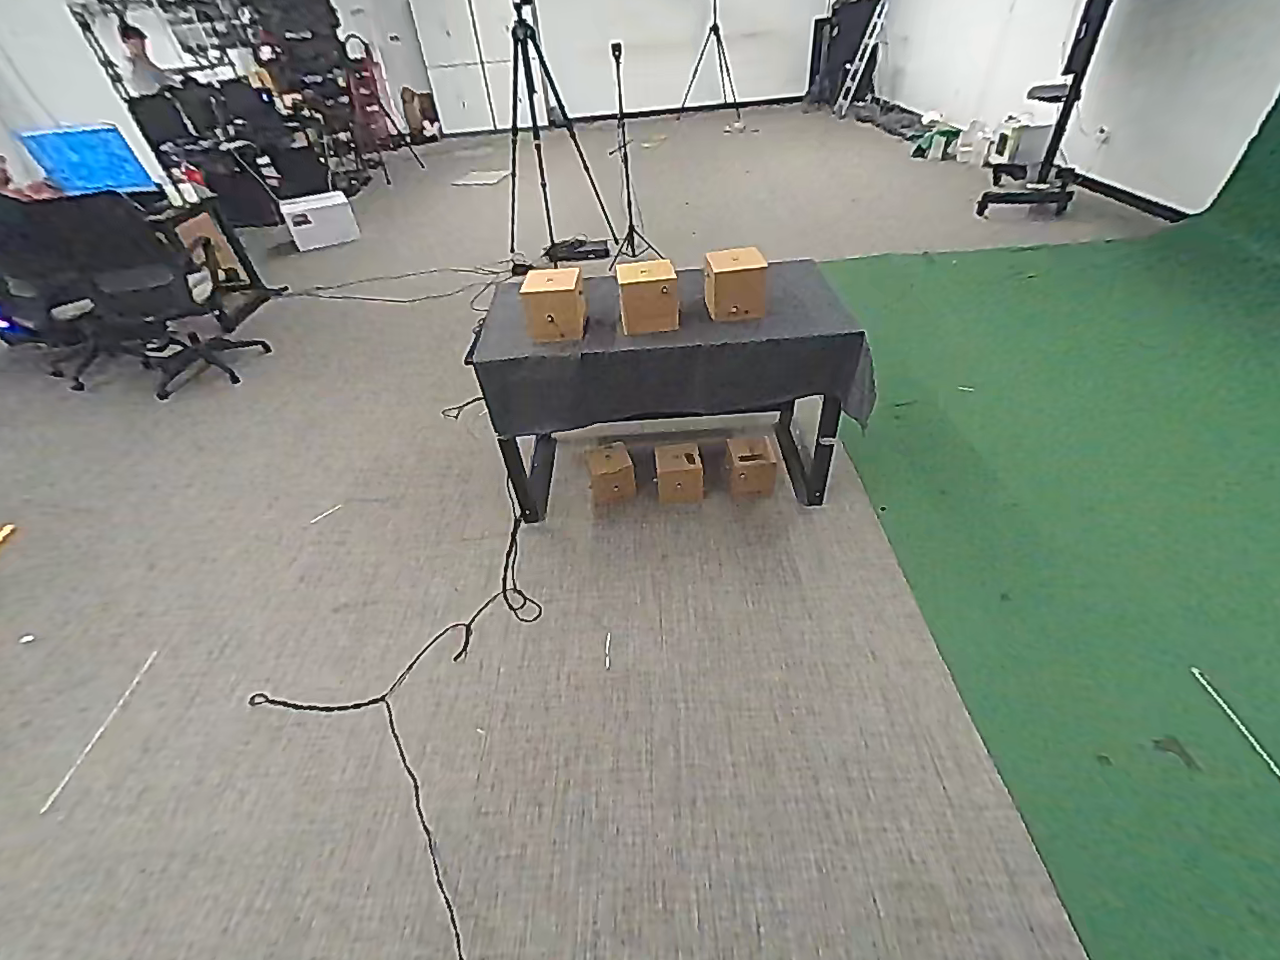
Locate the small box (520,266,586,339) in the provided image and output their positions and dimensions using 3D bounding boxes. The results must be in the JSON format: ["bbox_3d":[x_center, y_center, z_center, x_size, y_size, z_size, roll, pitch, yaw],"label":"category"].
[{"bbox_3d":[-0.265,-0.552,1.696,0.168,0.176,0.179,-2,42,3],"label":"small box"}]

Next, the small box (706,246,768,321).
[{"bbox_3d":[0.302,-0.622,1.713,0.168,0.176,0.179,-6,42,1],"label":"small box"}]

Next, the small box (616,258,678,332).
[{"bbox_3d":[0.023,-0.576,1.695,0.179,0.176,0.168,-7,41,-1],"label":"small box"}]

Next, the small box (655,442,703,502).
[{"bbox_3d":[0.155,-0.030,2.160,0.179,0.176,0.168,-6,41,1],"label":"small box"}]
